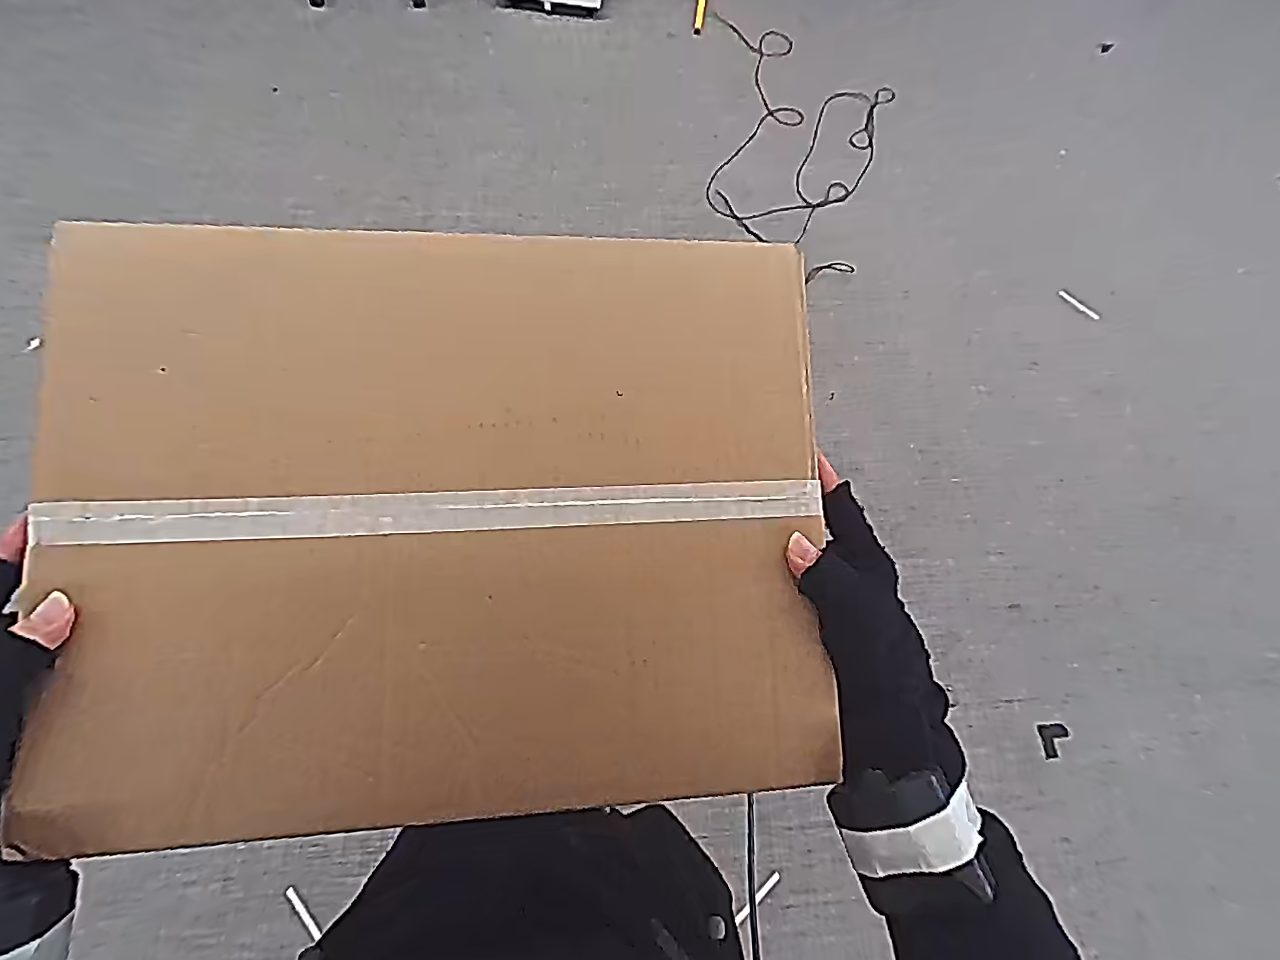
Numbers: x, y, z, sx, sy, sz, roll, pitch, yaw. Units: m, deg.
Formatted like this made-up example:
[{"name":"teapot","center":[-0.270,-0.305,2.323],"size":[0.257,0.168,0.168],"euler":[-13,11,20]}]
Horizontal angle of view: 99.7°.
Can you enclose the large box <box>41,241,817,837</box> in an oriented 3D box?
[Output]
[{"name":"large box","center":[-0.116,0.031,0.448],"size":[0.408,0.320,0.320],"euler":[-1,83,-7]}]
